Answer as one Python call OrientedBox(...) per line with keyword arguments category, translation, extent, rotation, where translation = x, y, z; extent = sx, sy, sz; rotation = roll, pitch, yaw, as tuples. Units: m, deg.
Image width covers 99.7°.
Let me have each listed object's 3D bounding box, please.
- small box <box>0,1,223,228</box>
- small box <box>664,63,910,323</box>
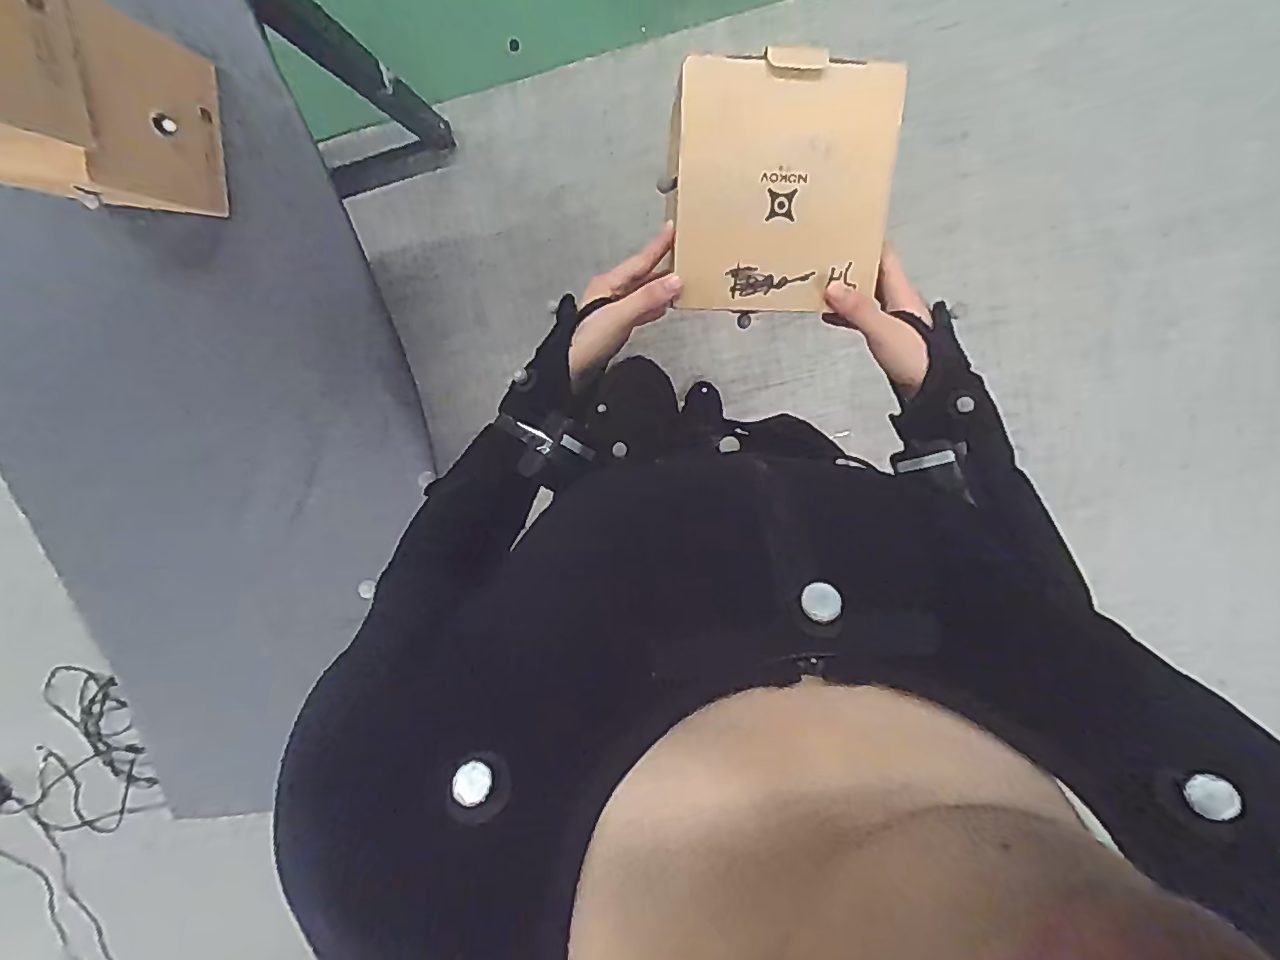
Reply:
OrientedBox(category="small box", translation=(-0.586, -0.376, 0.575), extent=(0.179, 0.176, 0.168), rotation=(7, 106, 4))
OrientedBox(category="small box", translation=(0.111, -0.238, 0.490), extent=(0.168, 0.176, 0.179), rotation=(1, 109, -2))
